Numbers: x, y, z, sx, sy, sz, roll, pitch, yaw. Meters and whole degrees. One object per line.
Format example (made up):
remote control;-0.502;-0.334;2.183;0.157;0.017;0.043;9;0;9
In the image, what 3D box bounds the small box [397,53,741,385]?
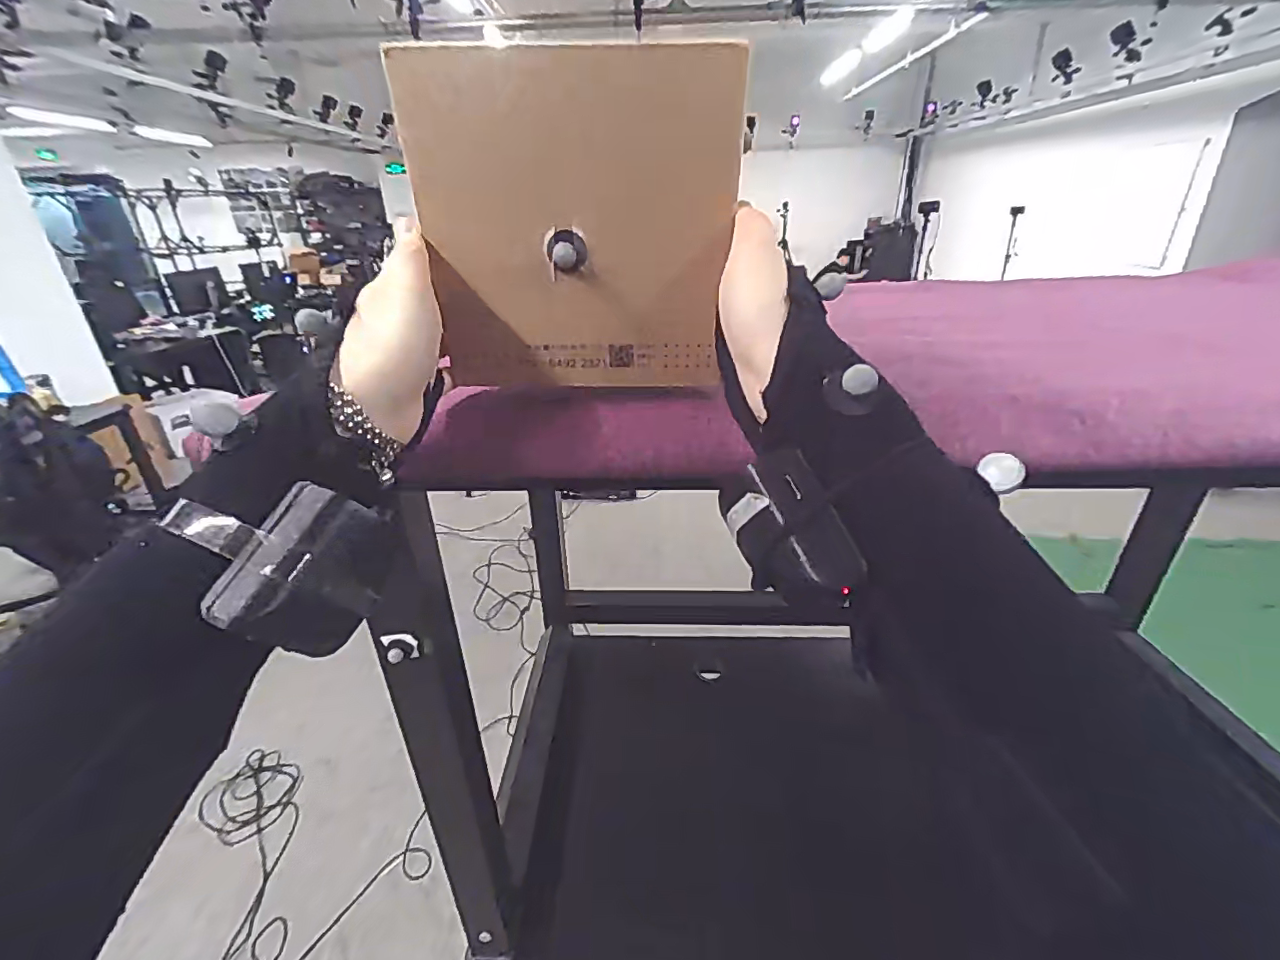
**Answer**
small box;-0.031;-0.172;0.362;0.168;0.176;0.179;1;34;1
